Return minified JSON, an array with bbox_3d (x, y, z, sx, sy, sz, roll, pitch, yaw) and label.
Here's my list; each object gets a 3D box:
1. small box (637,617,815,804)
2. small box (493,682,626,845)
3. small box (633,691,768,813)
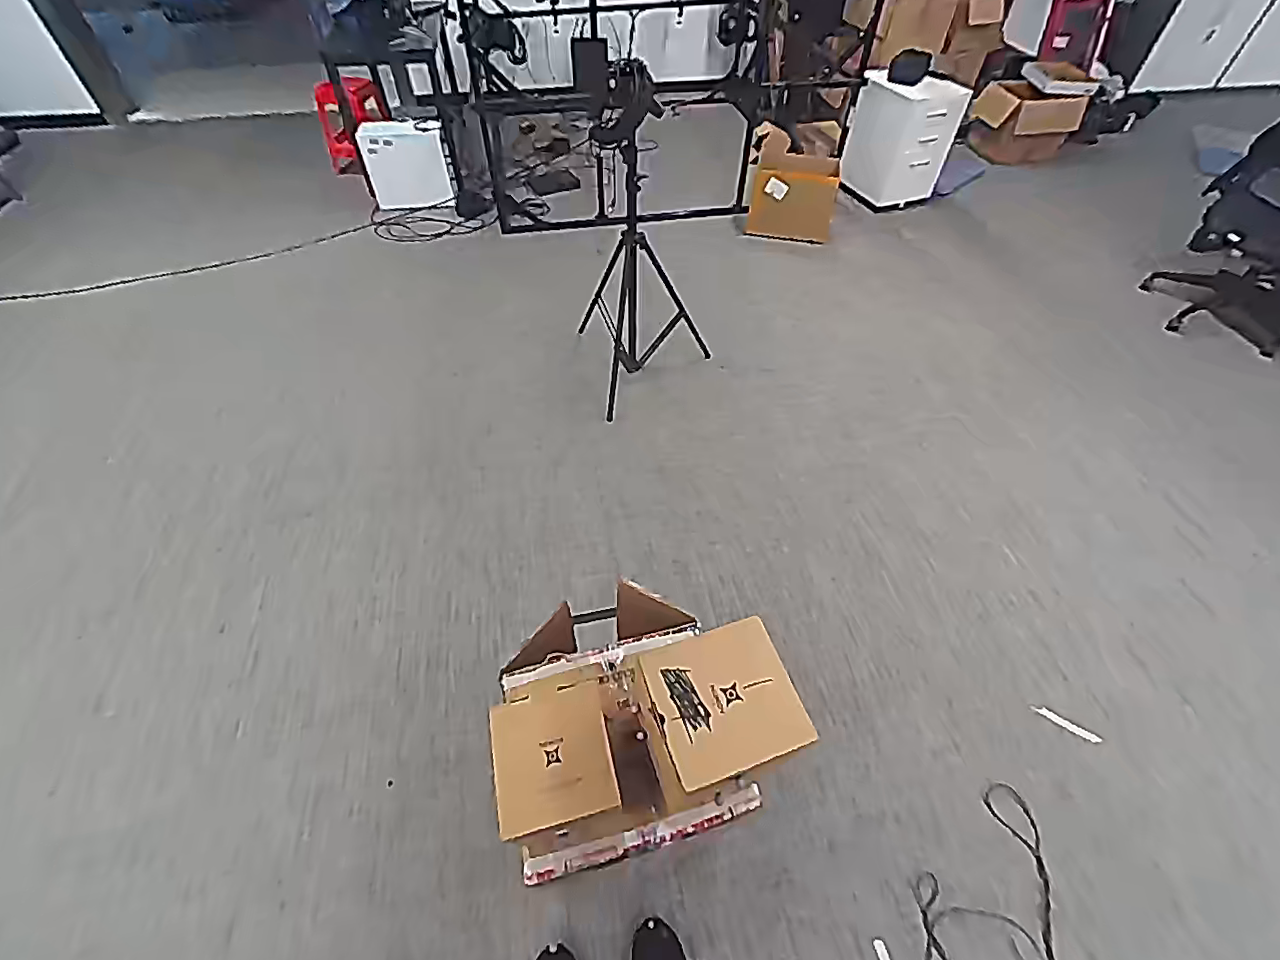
[{"bbox_3d":[0.102,0.317,0.734,0.179,0.176,0.168,-15,56,-13],"label":"small box"},{"bbox_3d":[-0.122,0.443,0.840,0.168,0.176,0.179,-13,56,-9],"label":"small box"},{"bbox_3d":[0.096,0.411,0.870,0.179,0.176,0.168,-15,55,-14],"label":"small box"}]
